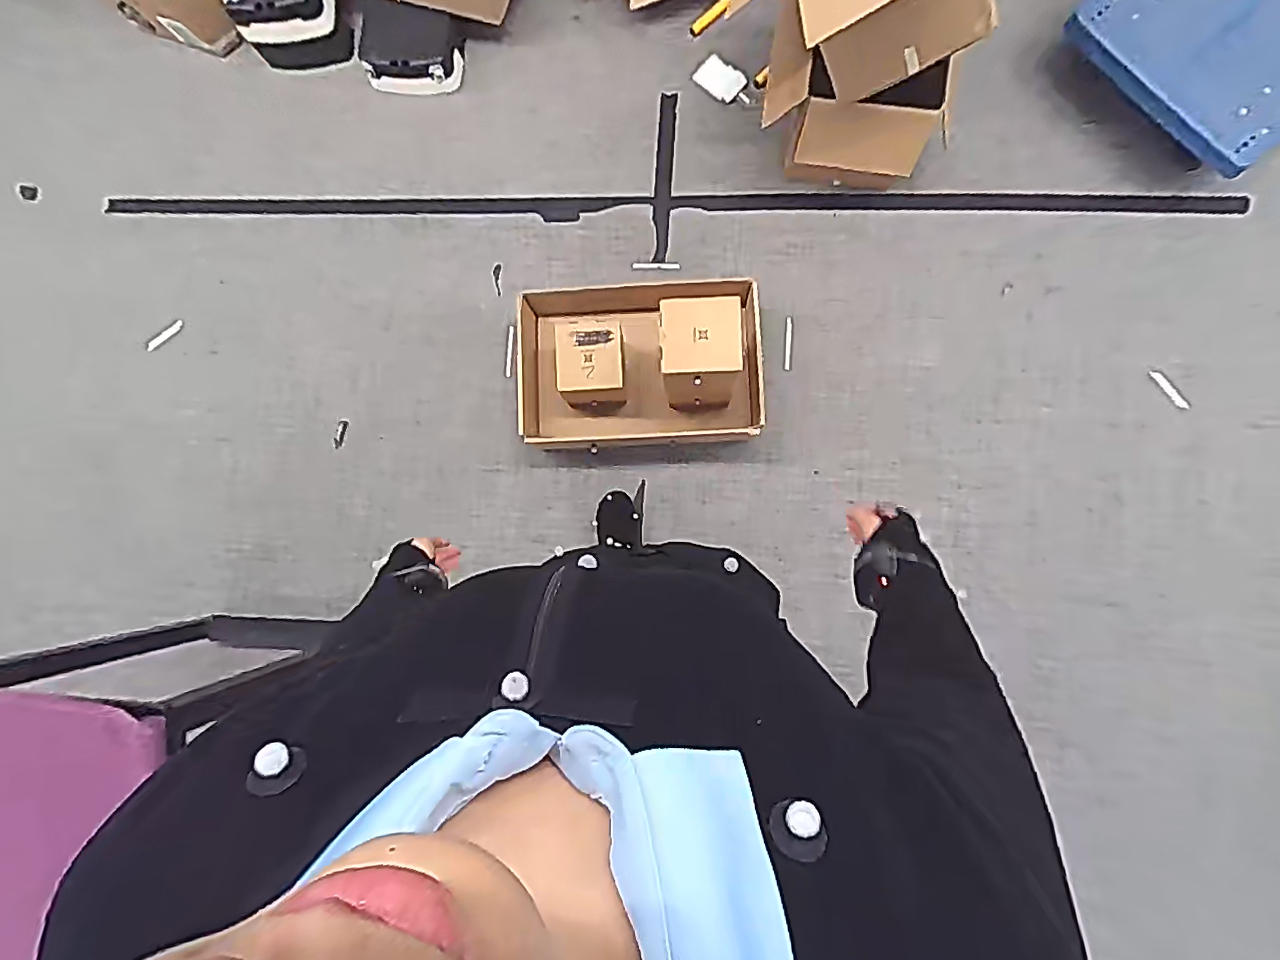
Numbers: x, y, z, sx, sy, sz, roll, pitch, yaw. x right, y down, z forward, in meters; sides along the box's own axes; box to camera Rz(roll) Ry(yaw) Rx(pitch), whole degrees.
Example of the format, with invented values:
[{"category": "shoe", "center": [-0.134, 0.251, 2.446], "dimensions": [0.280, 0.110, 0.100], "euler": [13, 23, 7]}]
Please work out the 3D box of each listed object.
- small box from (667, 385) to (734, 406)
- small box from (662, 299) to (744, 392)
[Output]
[{"category": "small box", "center": [0.154, -0.292, 1.406], "dimensions": [0.168, 0.176, 0.179], "euler": [-1, 84, 4]}, {"category": "small box", "center": [0.140, -0.304, 1.245], "dimensions": [0.179, 0.176, 0.168], "euler": [-1, 85, 5]}]
